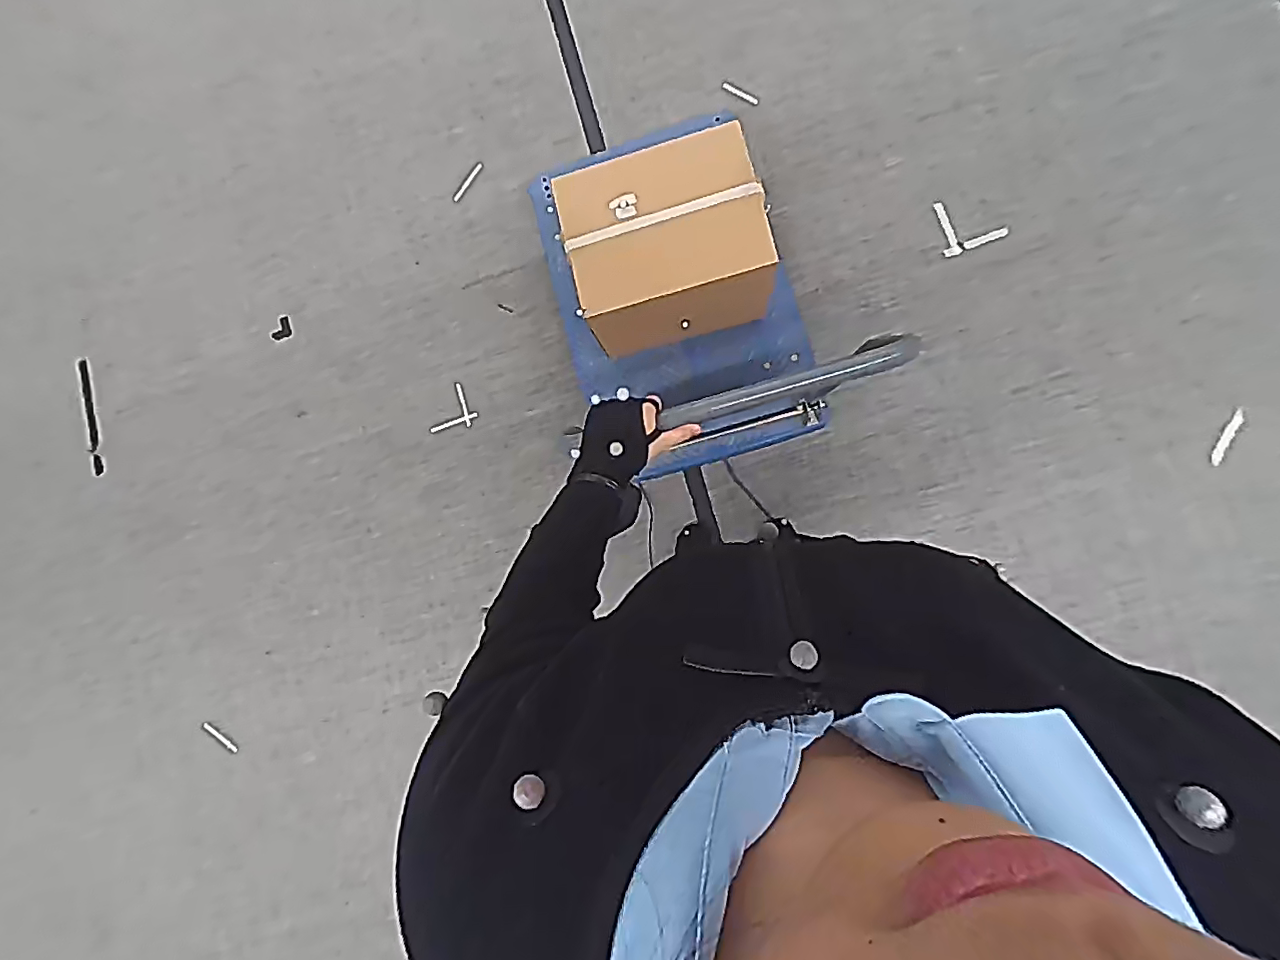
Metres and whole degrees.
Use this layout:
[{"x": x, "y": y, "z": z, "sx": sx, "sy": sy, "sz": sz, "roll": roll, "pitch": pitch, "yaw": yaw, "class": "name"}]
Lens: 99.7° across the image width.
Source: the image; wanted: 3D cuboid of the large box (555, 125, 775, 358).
[{"x": 0.066, "y": -0.518, "z": 1.255, "sx": 0.408, "sy": 0.320, "sz": 0.320, "roll": -15, "pitch": 83, "yaw": 7, "class": "large box"}]
